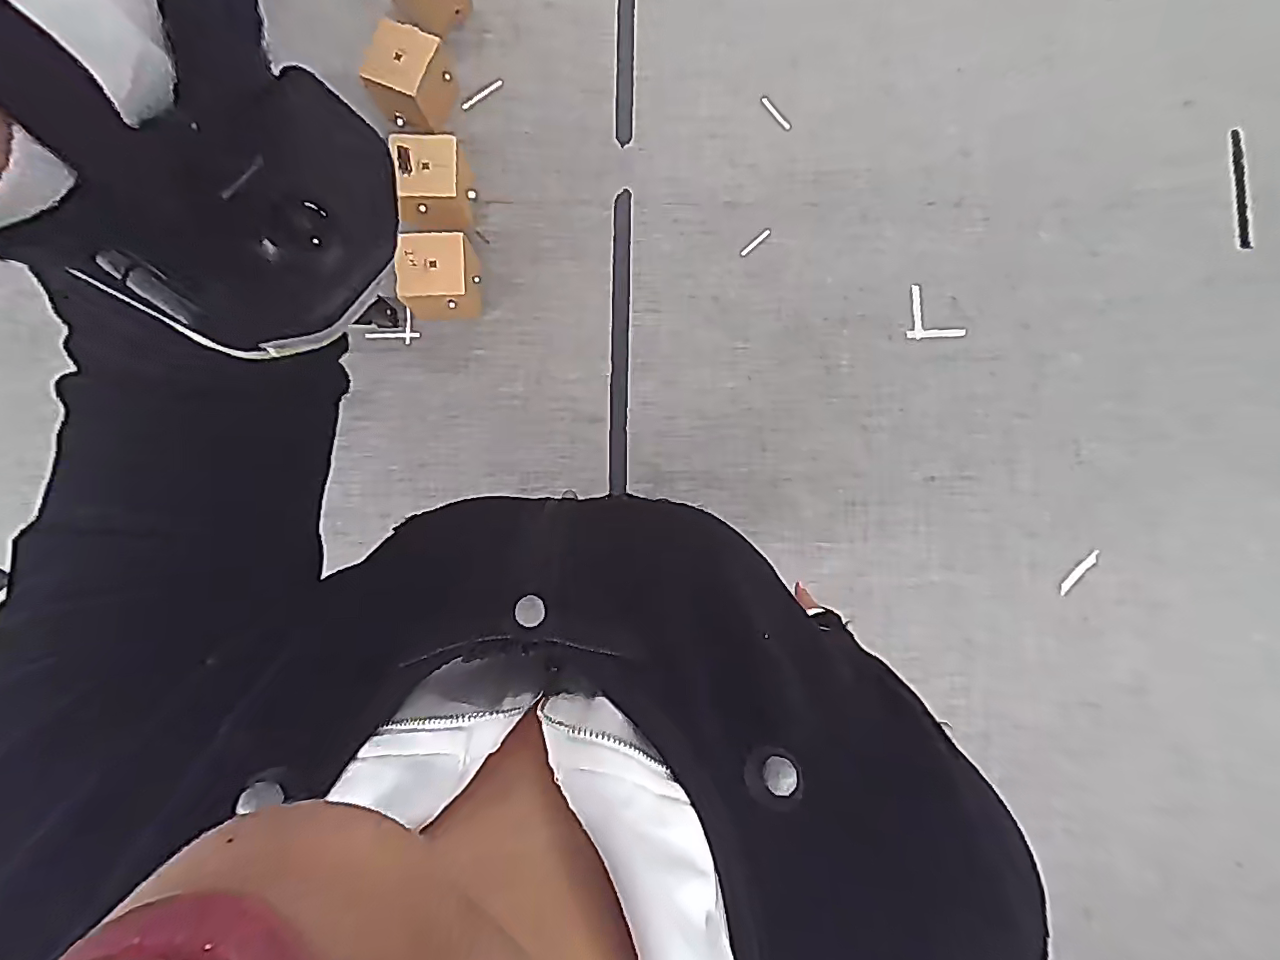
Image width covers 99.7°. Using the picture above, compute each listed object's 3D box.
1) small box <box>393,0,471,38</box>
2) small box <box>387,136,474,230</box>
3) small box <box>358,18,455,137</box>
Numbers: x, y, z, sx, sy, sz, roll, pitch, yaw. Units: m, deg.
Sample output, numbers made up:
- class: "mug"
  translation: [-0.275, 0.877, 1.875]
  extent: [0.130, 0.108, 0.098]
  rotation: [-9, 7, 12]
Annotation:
- class: "small box"
  translation: [-0.606, -1.398, 1.502]
  extent: [0.179, 0.176, 0.168]
  rotation: [44, 87, 1]
- class: "small box"
  translation: [-0.565, -0.802, 1.473]
  extent: [0.179, 0.176, 0.168]
  rotation: [-1, 87, -3]
- class: "small box"
  translation: [-0.630, -1.096, 1.488]
  extent: [0.168, 0.176, 0.179]
  rotation: [21, 88, 1]
